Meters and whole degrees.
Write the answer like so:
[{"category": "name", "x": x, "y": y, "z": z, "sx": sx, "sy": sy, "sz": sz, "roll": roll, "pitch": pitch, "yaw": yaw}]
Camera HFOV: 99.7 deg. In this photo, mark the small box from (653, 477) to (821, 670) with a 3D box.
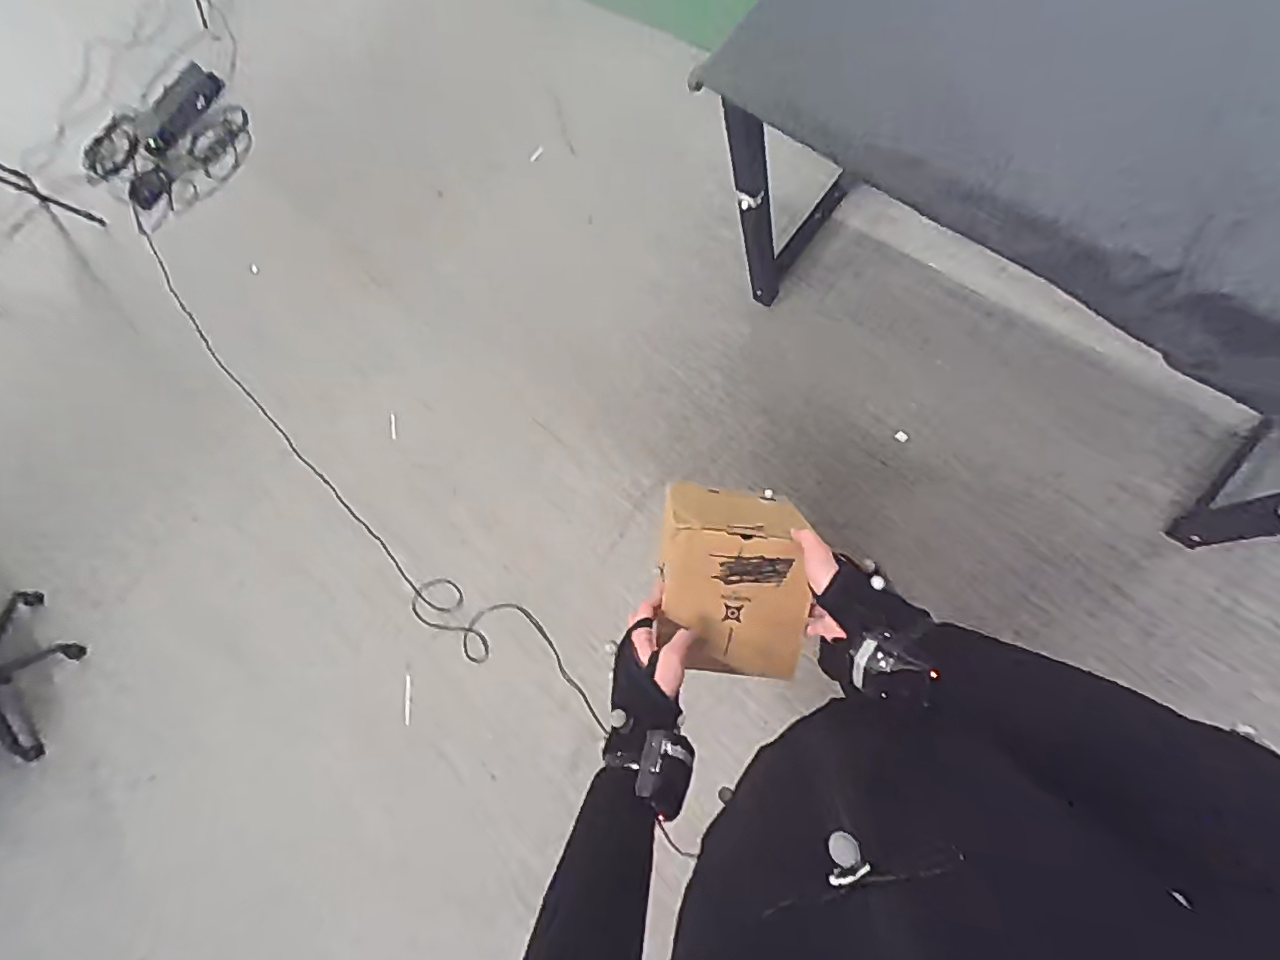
[{"category": "small box", "x": 0.107, "y": 0.104, "z": 0.674, "sx": 0.168, "sy": 0.176, "sz": 0.179, "roll": 7, "pitch": 107, "yaw": 1}]
